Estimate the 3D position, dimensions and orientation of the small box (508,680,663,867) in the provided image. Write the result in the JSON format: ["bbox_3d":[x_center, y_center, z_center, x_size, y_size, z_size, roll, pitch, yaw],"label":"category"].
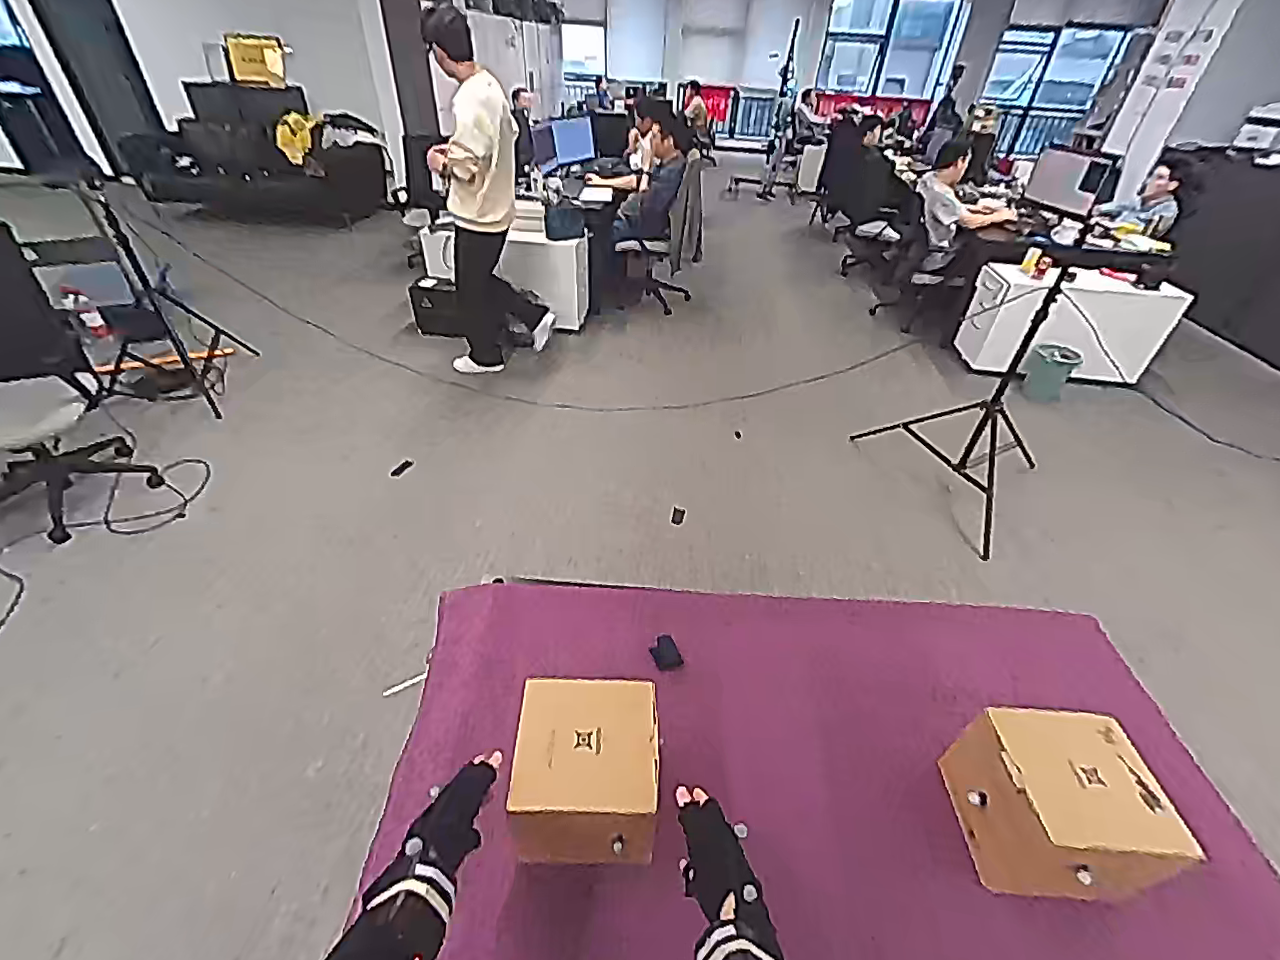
[{"bbox_3d":[-0.065,0.387,0.717,0.179,0.176,0.168,1,36,-2],"label":"small box"}]

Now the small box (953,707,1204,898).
[{"bbox_3d":[0.544,0.423,0.711,0.179,0.176,0.168,3,38,1],"label":"small box"}]
